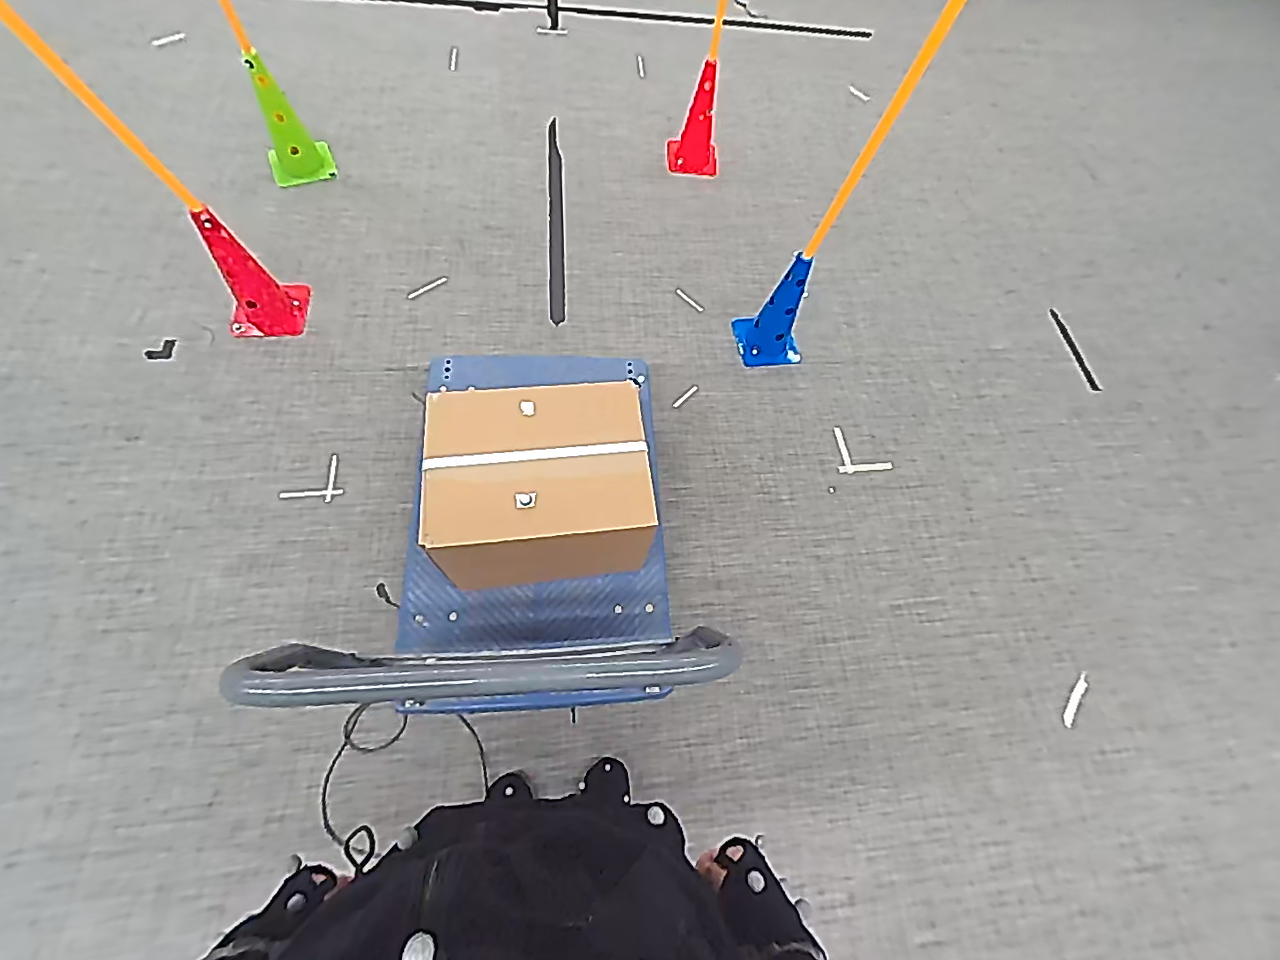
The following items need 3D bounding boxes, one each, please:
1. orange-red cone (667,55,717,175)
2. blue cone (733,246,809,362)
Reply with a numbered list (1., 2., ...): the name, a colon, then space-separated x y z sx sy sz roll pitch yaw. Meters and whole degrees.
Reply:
1. orange-red cone: 0.226 -1.361 1.997 0.199 0.360 0.198 4 65 -6
2. blue cone: 0.433 -0.543 1.652 0.193 0.380 0.192 -6 65 -10
